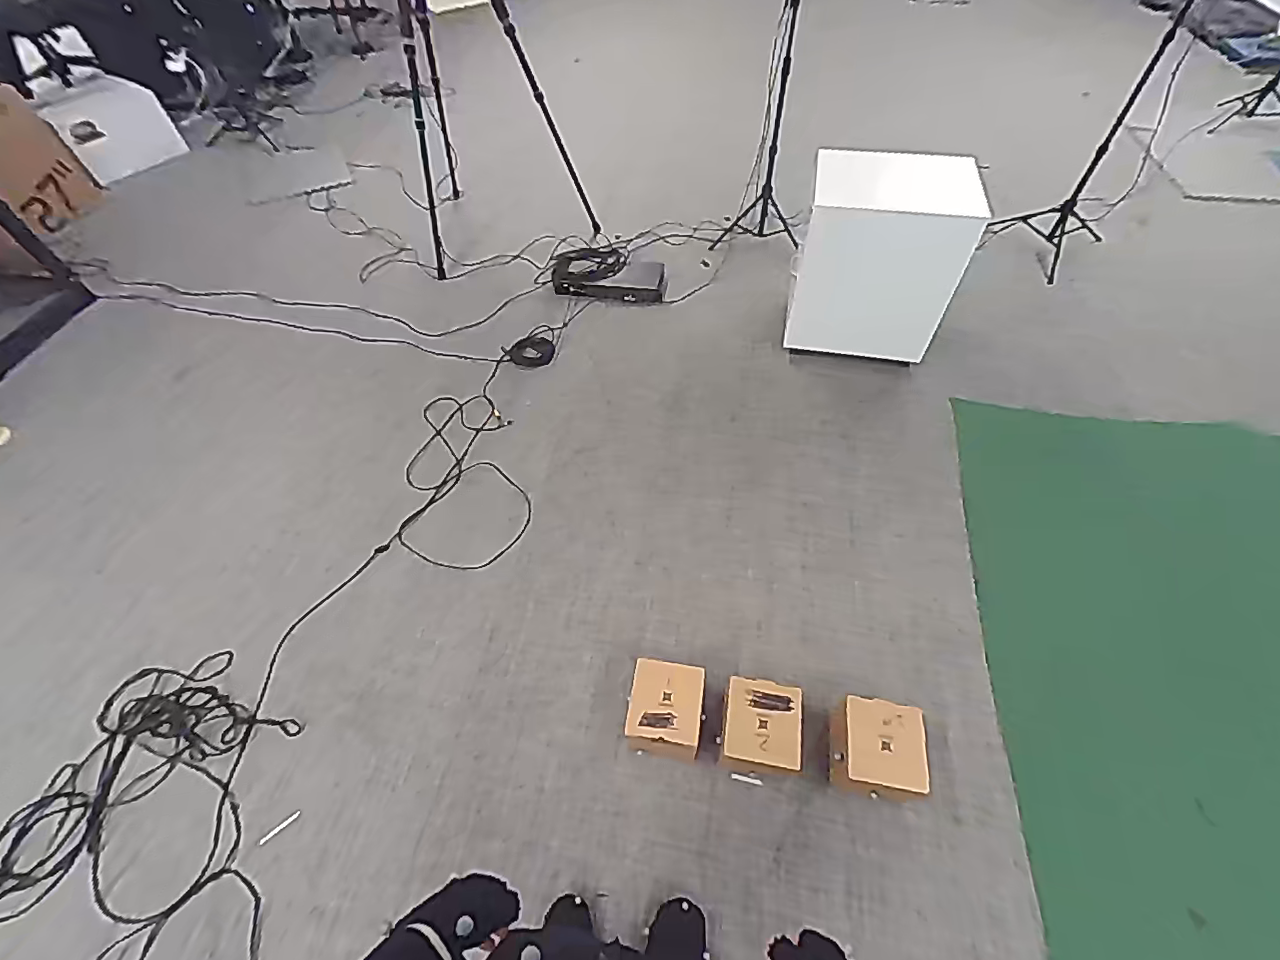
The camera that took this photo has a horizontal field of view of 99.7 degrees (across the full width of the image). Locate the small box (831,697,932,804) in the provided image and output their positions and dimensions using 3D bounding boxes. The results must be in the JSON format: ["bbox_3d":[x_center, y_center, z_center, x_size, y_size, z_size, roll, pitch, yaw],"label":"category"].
[{"bbox_3d":[0.538,0.617,1.226,0.168,0.176,0.179,8,54,8],"label":"small box"}]

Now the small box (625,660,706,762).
[{"bbox_3d":[0.066,0.557,1.293,0.168,0.176,0.179,6,53,8],"label":"small box"}]
